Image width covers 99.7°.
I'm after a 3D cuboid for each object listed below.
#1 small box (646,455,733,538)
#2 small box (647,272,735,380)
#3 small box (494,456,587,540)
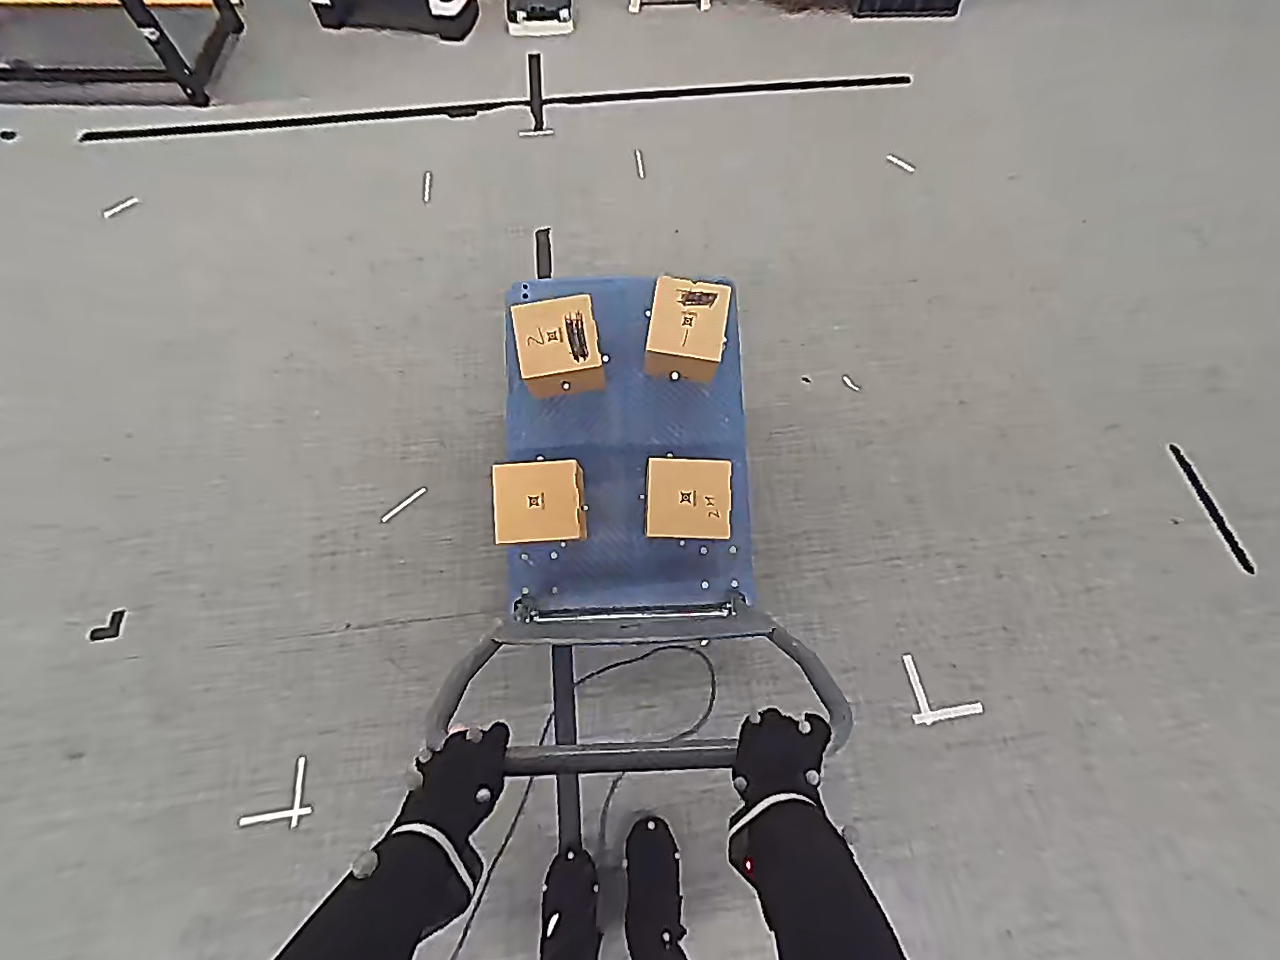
[{"bbox_3d":[0.104,0.041,1.200,0.179,0.176,0.168,3,84,-1],"label":"small box"},{"bbox_3d":[0.110,-0.346,1.243,0.168,0.176,0.179,10,85,0],"label":"small box"},{"bbox_3d":[-0.214,0.045,1.193,0.179,0.176,0.168,-4,84,-3],"label":"small box"}]
